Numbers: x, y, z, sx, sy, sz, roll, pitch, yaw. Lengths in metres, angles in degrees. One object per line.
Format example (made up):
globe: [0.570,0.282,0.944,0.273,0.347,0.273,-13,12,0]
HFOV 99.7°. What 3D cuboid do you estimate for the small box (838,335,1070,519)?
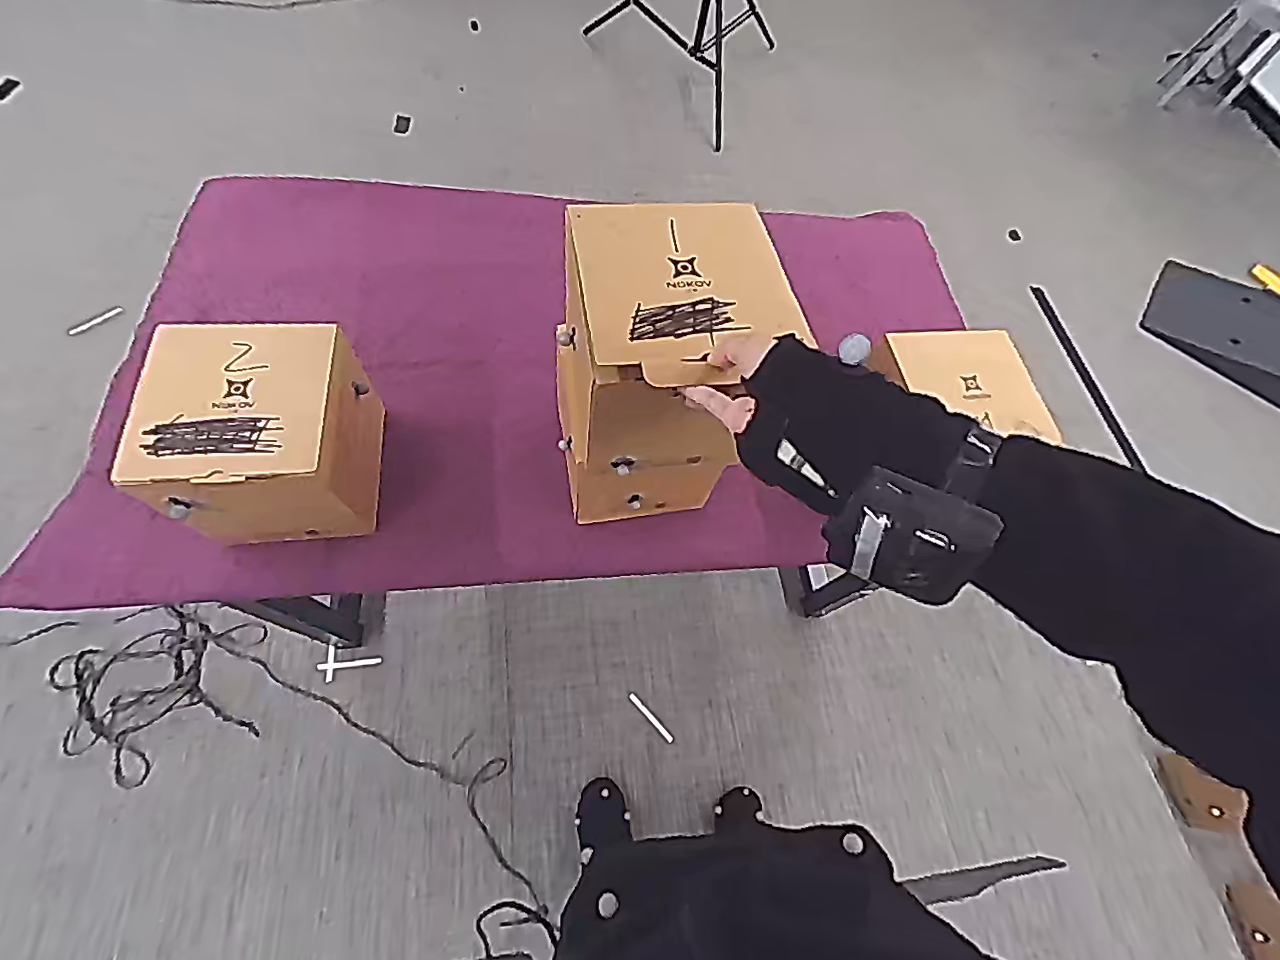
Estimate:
small box: [0.380,-0.064,0.695,0.168,0.176,0.179,-4,65,-8]

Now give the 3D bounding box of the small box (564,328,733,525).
small box: [0.000,-0.063,0.644,0.168,0.176,0.179,-7,67,-11]

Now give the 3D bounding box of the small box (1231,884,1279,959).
small box: [1.461,1.000,1.160,0.168,0.176,0.179,0,66,-7]

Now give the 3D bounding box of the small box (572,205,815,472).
small box: [0.029,-0.116,0.491,0.168,0.176,0.179,-6,66,-10]

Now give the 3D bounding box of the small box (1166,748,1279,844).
small box: [1.413,0.737,1.278,0.179,0.176,0.168,-4,67,-11]
